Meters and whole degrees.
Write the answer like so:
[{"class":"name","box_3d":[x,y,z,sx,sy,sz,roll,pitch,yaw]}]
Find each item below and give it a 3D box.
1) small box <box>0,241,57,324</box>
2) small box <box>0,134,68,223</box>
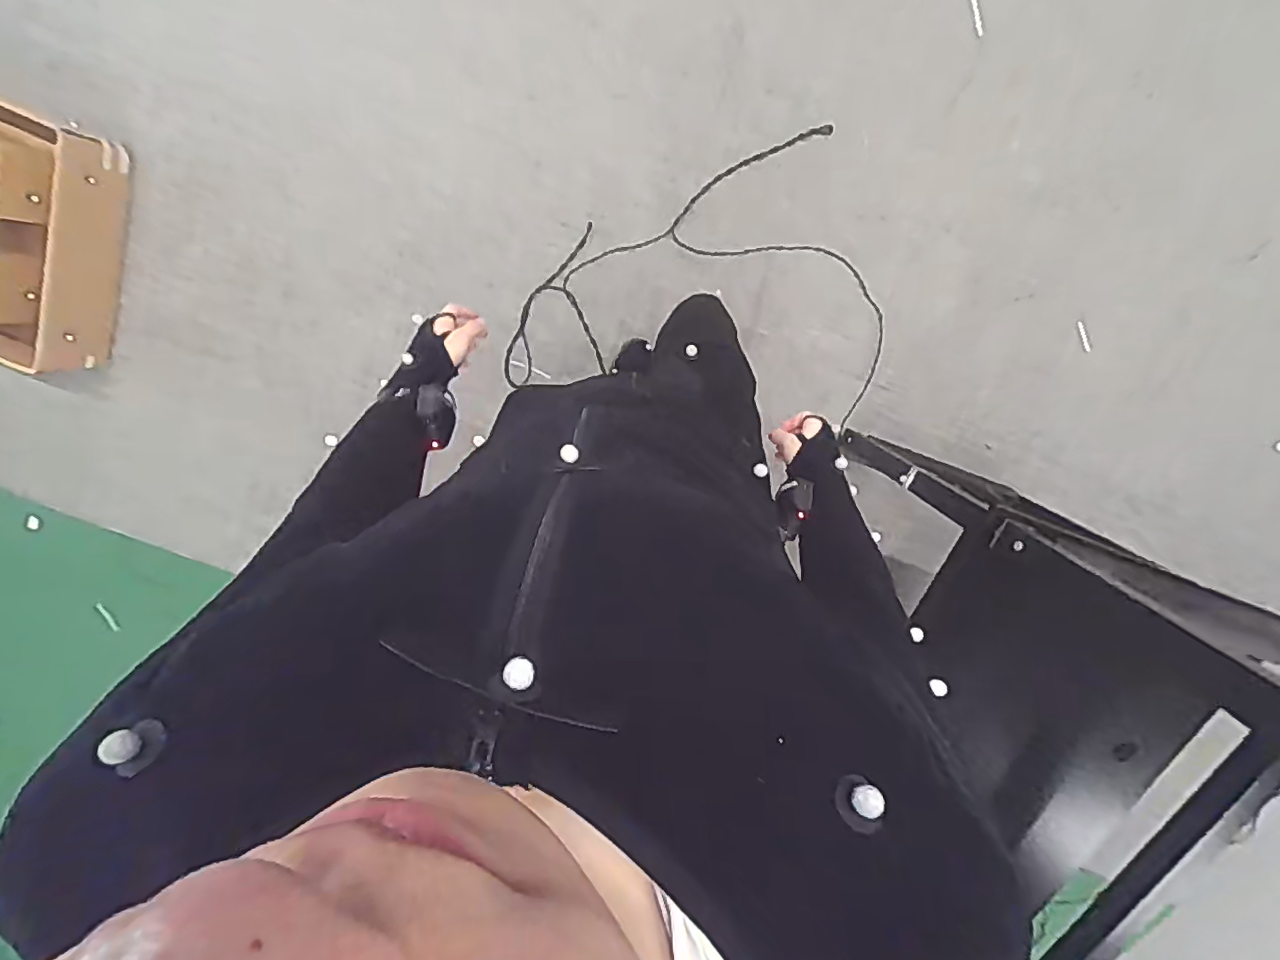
[{"class":"small box","box_3d":[-1.658,-0.512,1.376,0.179,0.176,0.168,21,106,-7]},{"class":"small box","box_3d":[-1.554,-0.741,1.306,0.179,0.176,0.168,22,107,-6]}]
